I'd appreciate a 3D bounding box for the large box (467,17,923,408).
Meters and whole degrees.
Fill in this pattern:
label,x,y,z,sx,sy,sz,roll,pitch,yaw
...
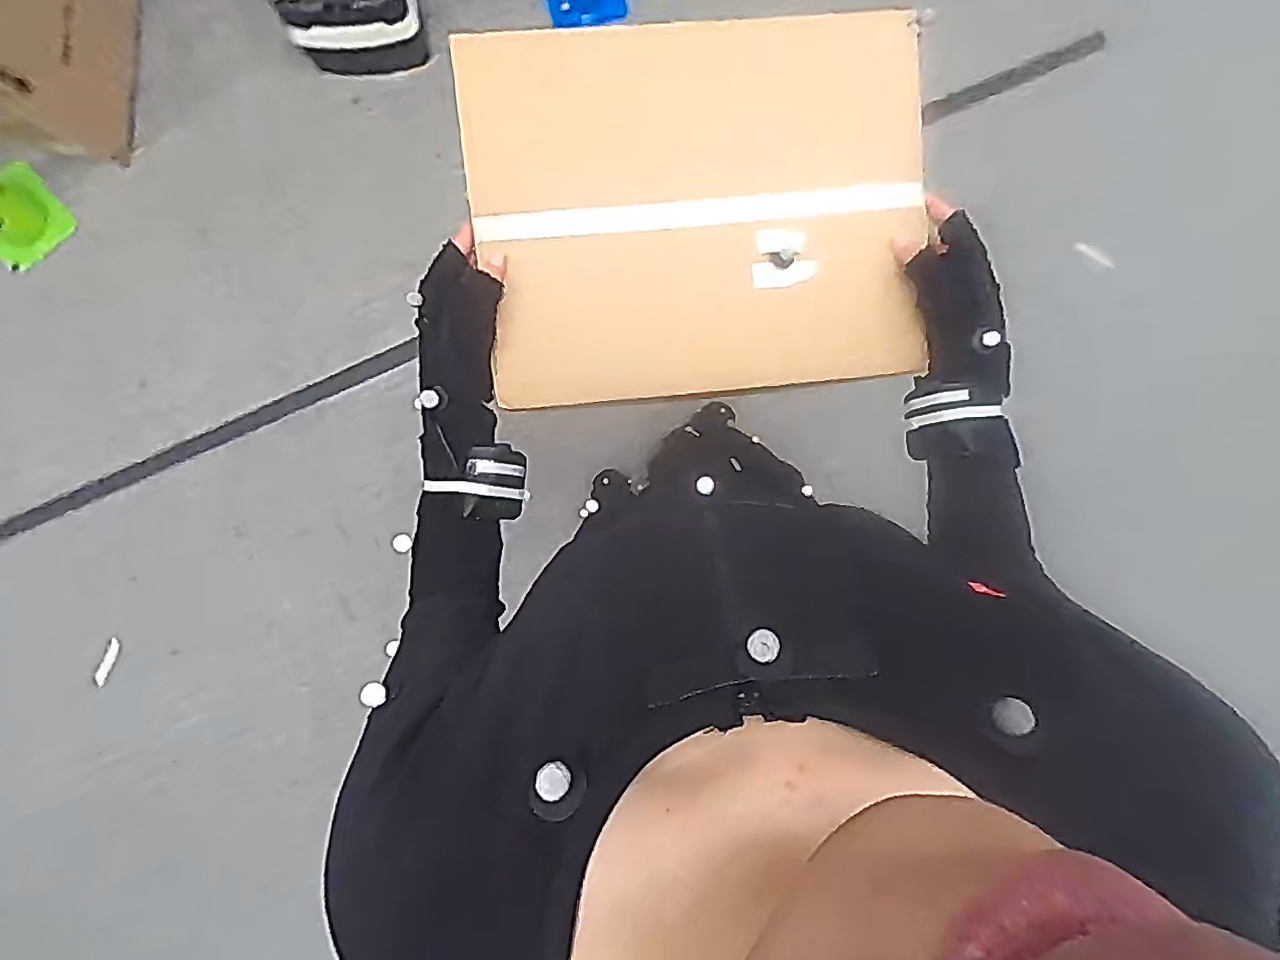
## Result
label,x,y,z,sx,sy,sz,roll,pitch,yaw
large box,0.050,-0.262,0.640,0.408,0.320,0.320,-6,98,-4
